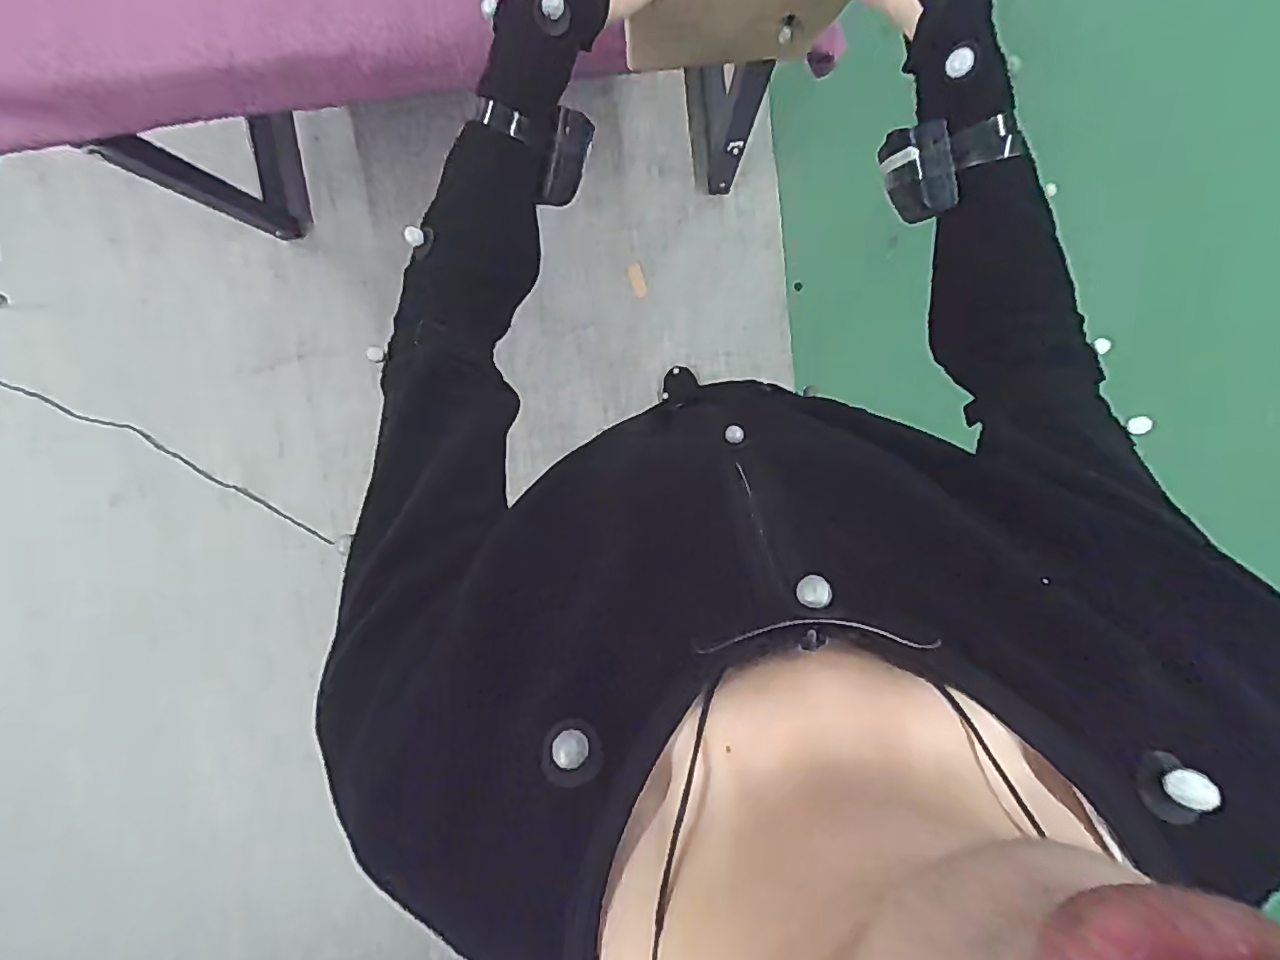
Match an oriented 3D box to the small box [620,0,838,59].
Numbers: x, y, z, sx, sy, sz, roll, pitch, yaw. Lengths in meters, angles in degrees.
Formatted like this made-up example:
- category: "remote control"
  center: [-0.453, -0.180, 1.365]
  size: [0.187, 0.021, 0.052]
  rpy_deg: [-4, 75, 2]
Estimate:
- category: "small box"
  center: [0.070, -0.454, 0.415]
  size: [0.179, 0.176, 0.168]
  rpy_deg: [-4, 111, 0]
